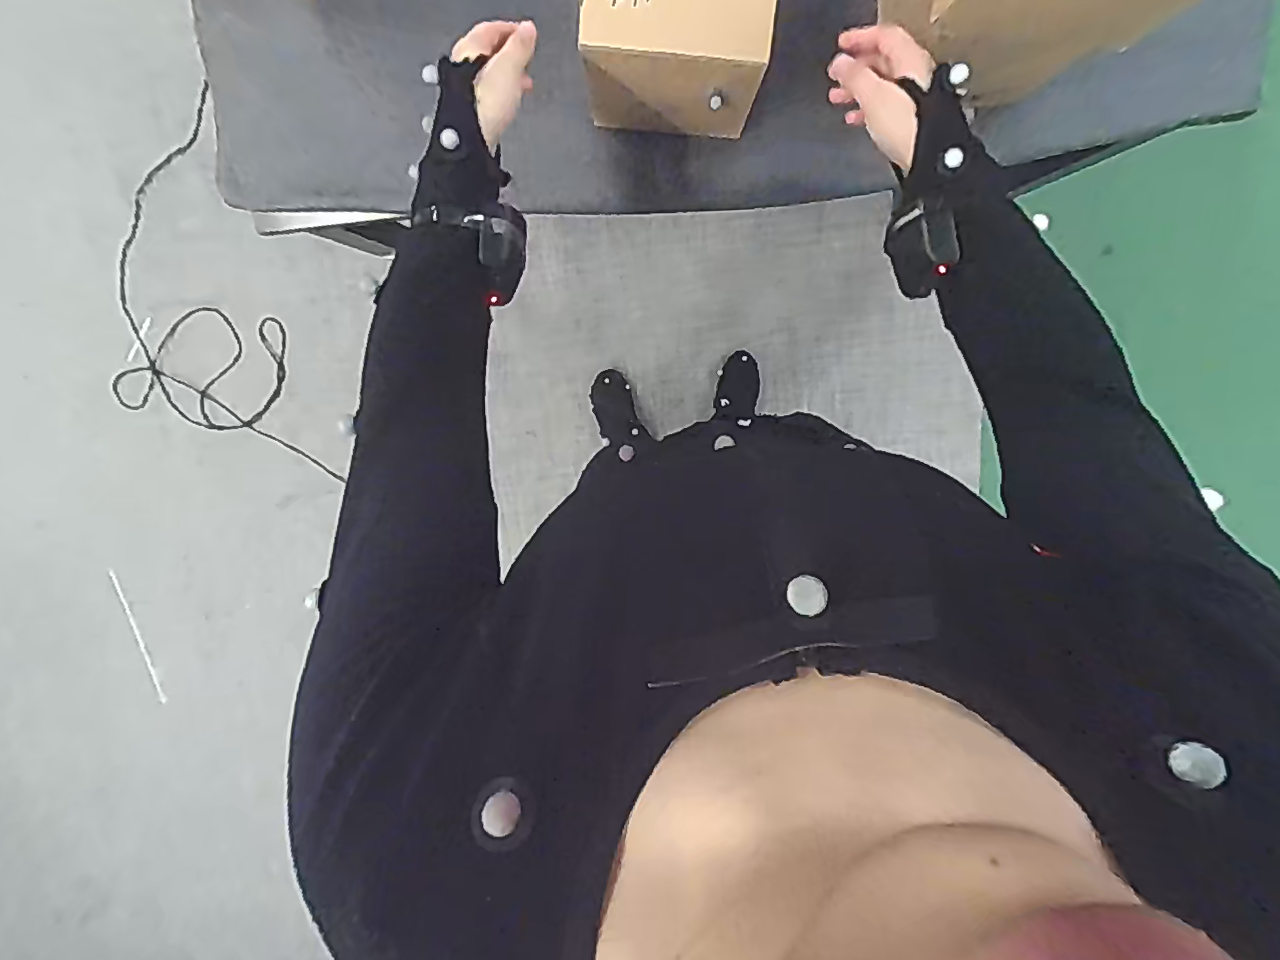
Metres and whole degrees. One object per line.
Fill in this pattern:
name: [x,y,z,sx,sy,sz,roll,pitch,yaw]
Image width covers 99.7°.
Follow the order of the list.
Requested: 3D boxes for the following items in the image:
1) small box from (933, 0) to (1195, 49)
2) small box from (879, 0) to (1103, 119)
small box: [0.348,-0.445,0.381,0.179,0.176,0.168,7,103,1]
small box: [0.351,-0.496,0.535,0.168,0.176,0.179,-4,103,3]
